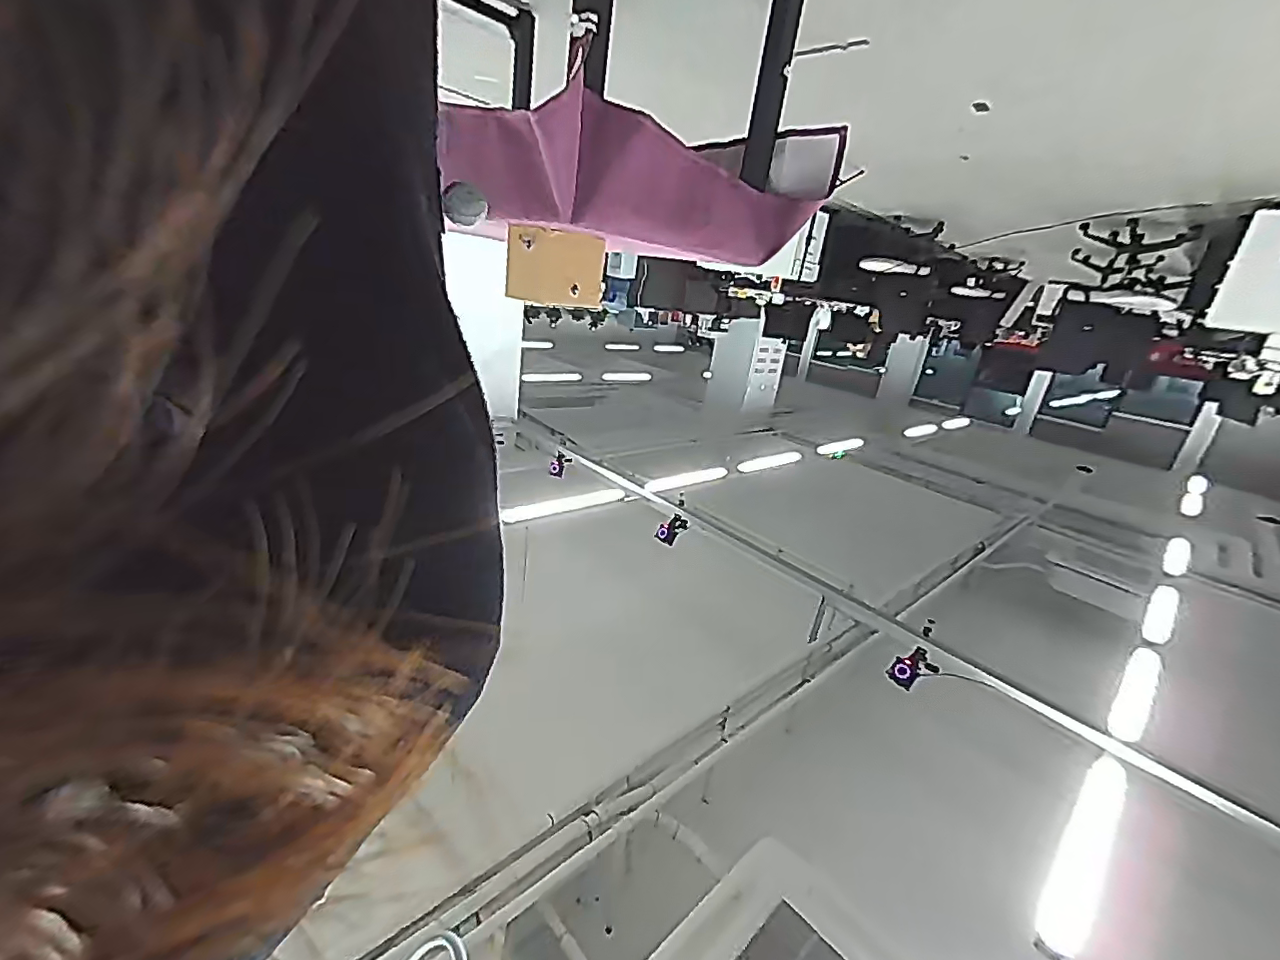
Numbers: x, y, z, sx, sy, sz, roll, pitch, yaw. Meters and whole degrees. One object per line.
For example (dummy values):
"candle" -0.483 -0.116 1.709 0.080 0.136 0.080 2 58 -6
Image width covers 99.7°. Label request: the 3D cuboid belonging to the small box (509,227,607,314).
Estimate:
"small box" -0.196 -0.503 1.307 0.179 0.176 0.168 -11 -152 -42
